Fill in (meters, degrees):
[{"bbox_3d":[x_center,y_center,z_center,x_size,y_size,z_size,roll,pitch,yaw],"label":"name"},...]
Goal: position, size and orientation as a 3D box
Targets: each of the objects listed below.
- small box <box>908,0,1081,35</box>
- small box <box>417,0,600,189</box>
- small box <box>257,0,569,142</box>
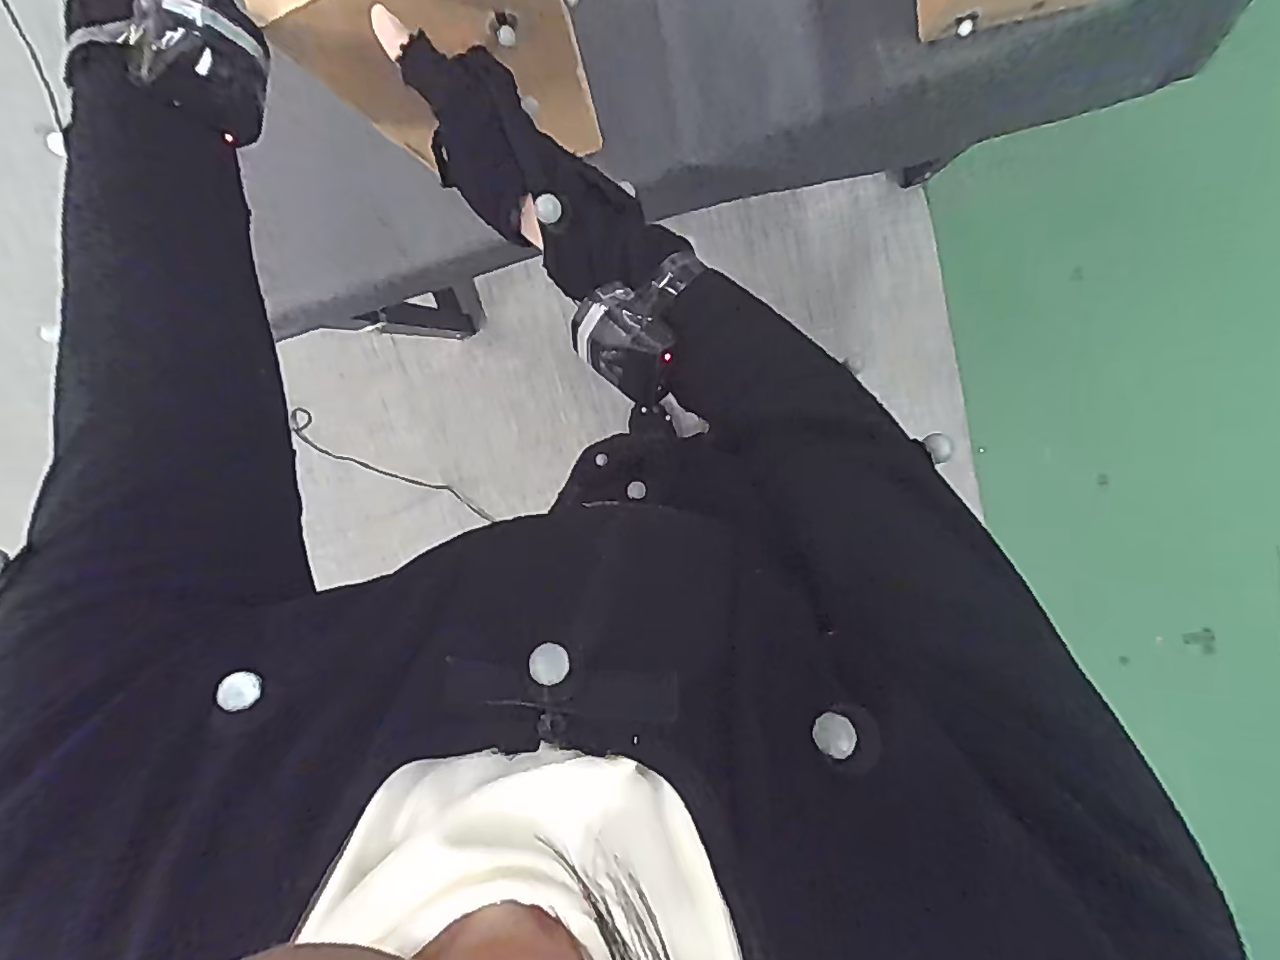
[{"bbox_3d":[0.344,-0.532,0.467,0.168,0.176,0.179,-8,100,7],"label":"small box"},{"bbox_3d":[-0.152,-0.418,0.536,0.179,0.176,0.168,-14,99,7],"label":"small box"},{"bbox_3d":[-0.159,-0.379,0.375,0.179,0.176,0.168,-19,99,7],"label":"small box"}]
